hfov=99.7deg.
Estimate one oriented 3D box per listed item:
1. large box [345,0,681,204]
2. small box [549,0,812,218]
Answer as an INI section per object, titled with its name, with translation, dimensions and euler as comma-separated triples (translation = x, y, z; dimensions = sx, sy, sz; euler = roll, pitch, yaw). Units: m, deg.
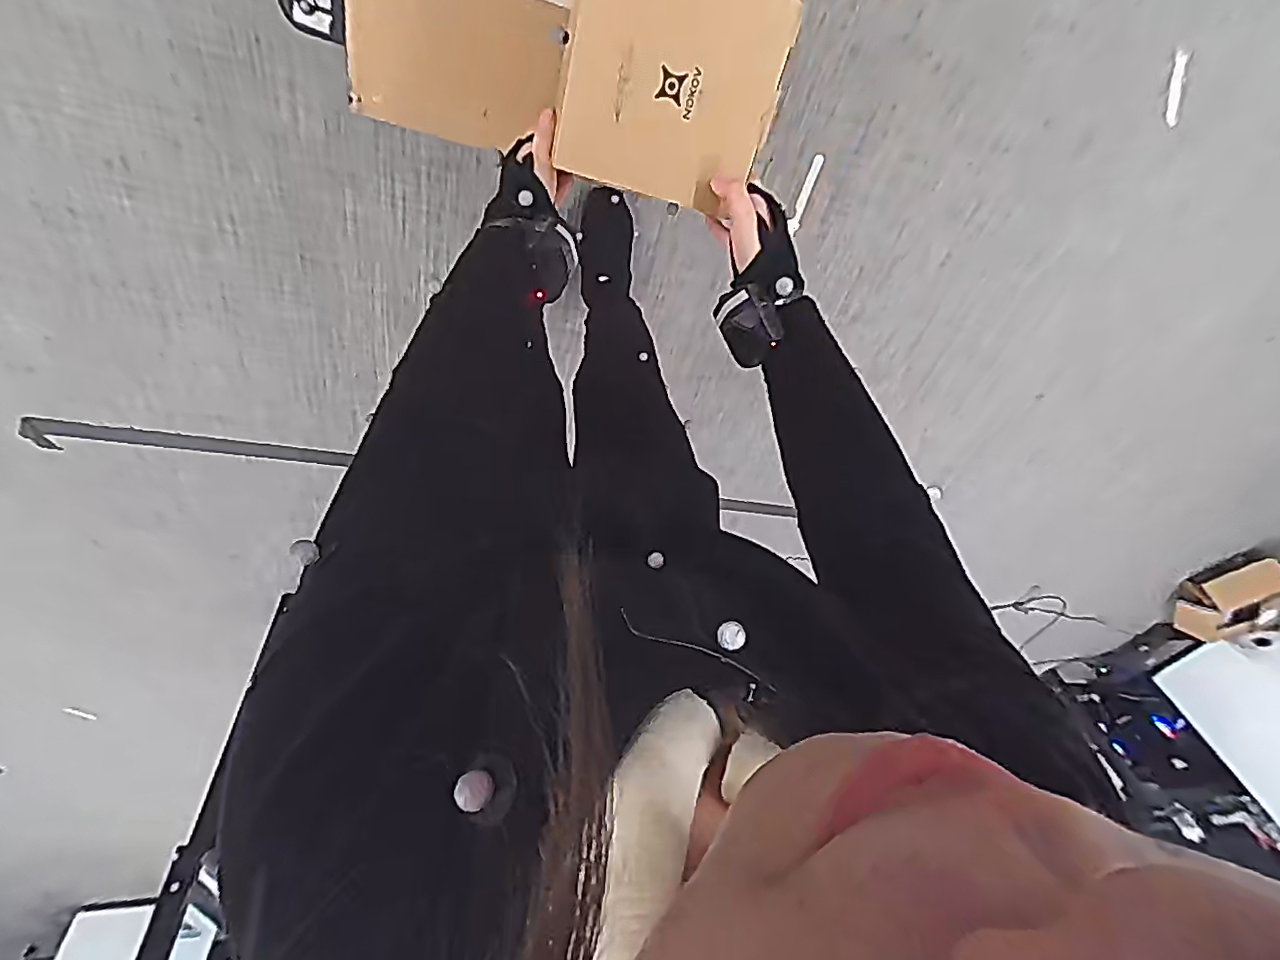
[large box]
translation = -0.090, -0.576, 0.634
dimensions = 0.408, 0.320, 0.320
euler = 7, 131, -16
[small box]
translation = 0.018, -0.365, 0.498
dimensions = 0.179, 0.176, 0.168
euler = 8, 122, -17
